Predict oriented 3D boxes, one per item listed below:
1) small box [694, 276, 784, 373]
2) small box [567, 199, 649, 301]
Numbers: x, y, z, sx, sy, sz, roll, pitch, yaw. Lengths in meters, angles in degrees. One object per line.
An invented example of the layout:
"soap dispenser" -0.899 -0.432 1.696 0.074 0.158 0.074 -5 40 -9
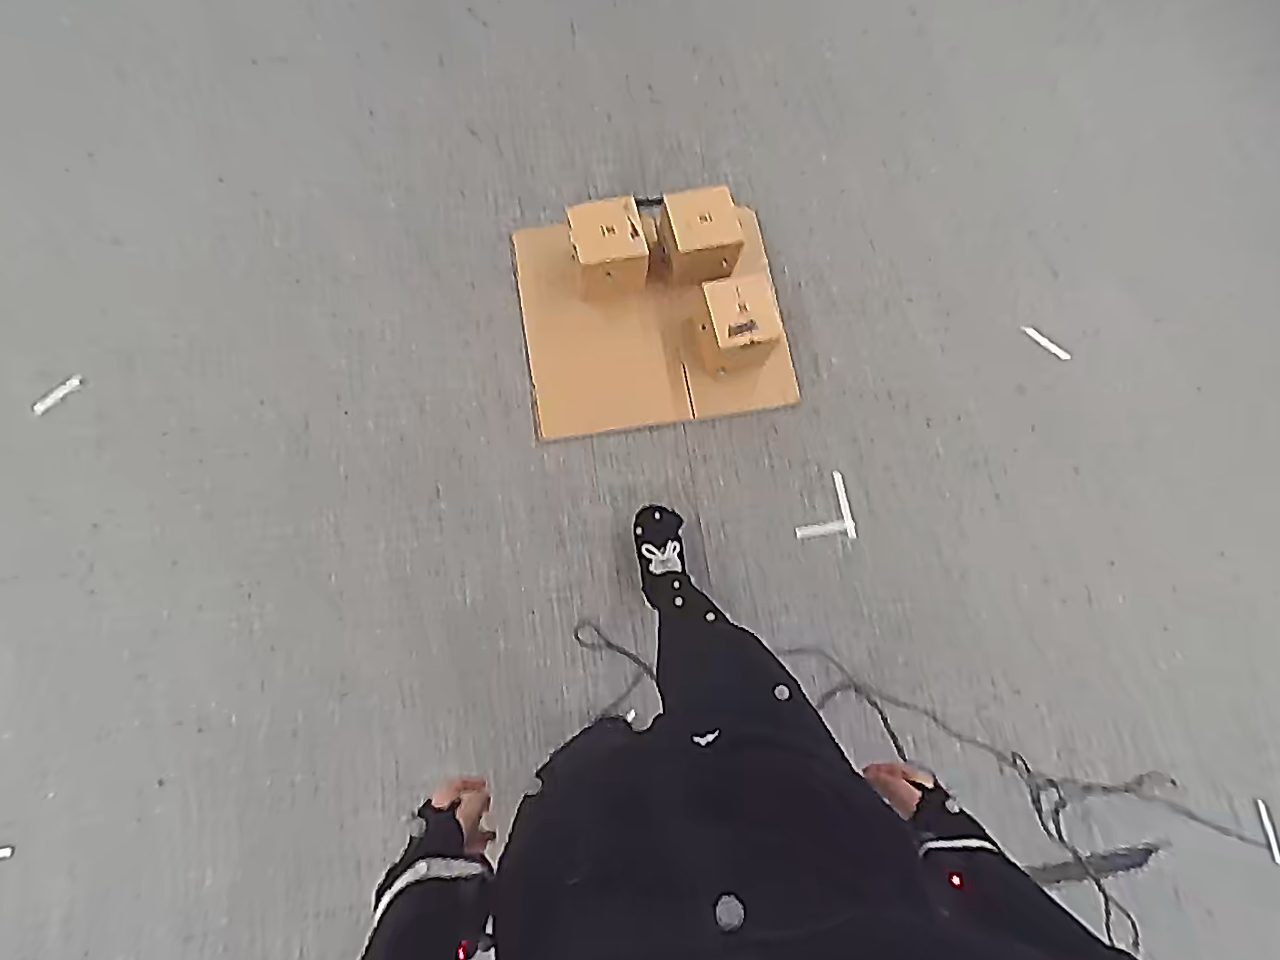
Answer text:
"small box" 0.246 -0.387 1.383 0.168 0.176 0.179 -12 79 -6
"small box" -0.081 -0.587 1.400 0.179 0.176 0.168 -13 80 -5
